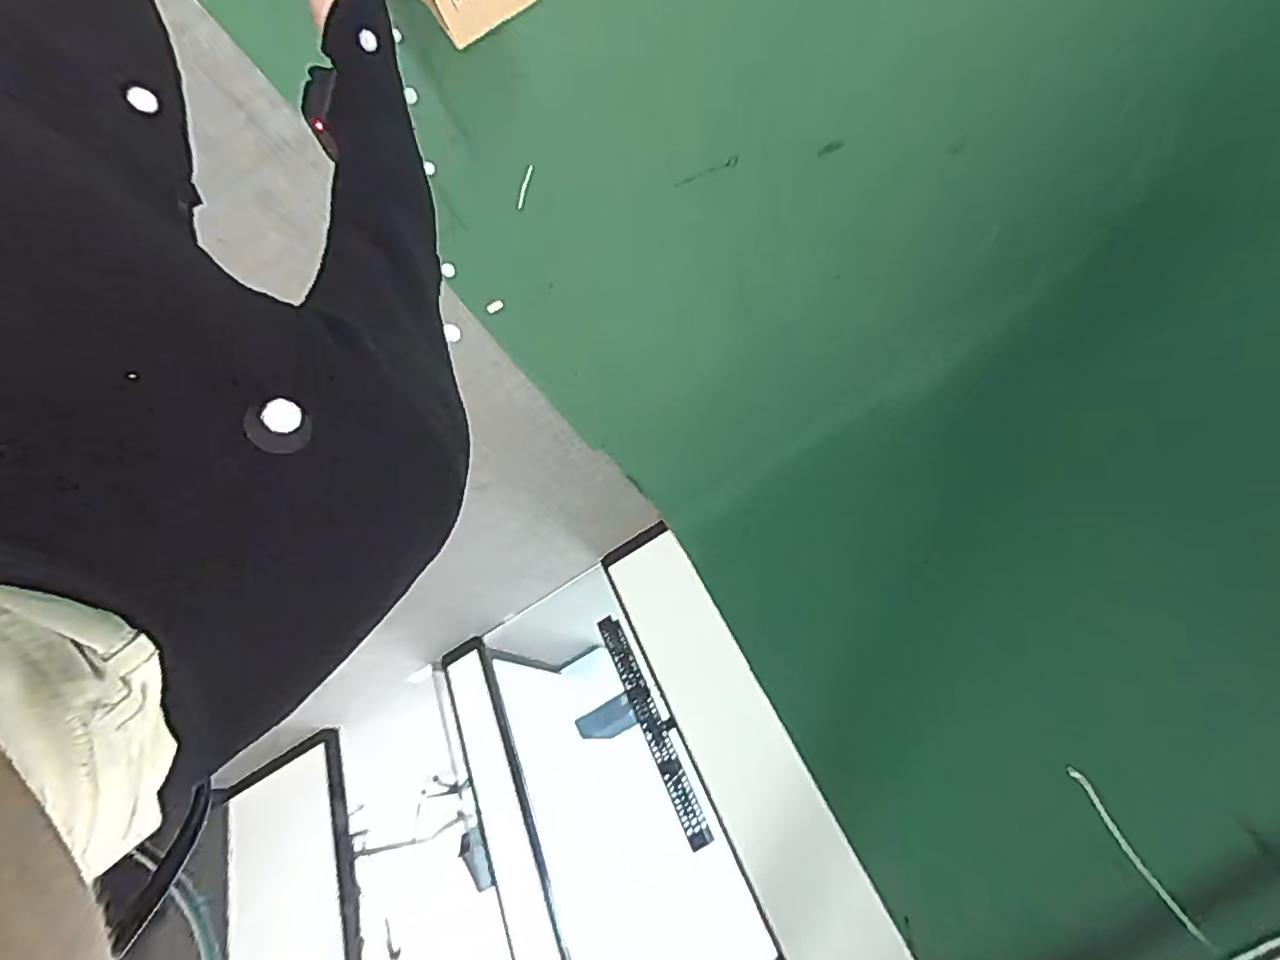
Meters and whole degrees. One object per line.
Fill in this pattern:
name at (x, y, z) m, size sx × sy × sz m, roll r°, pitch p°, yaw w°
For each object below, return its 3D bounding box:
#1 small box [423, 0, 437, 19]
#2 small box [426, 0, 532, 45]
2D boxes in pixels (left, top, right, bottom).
small box at (-0.372, -1.017, 1.000) m, size 0.179 × 0.176 × 0.168 m, roll -31°, pitch 148°, yaw 3°
small box at (-0.304, -0.895, 0.914) m, size 0.179 × 0.176 × 0.168 m, roll -30°, pitch 149°, yaw 2°
